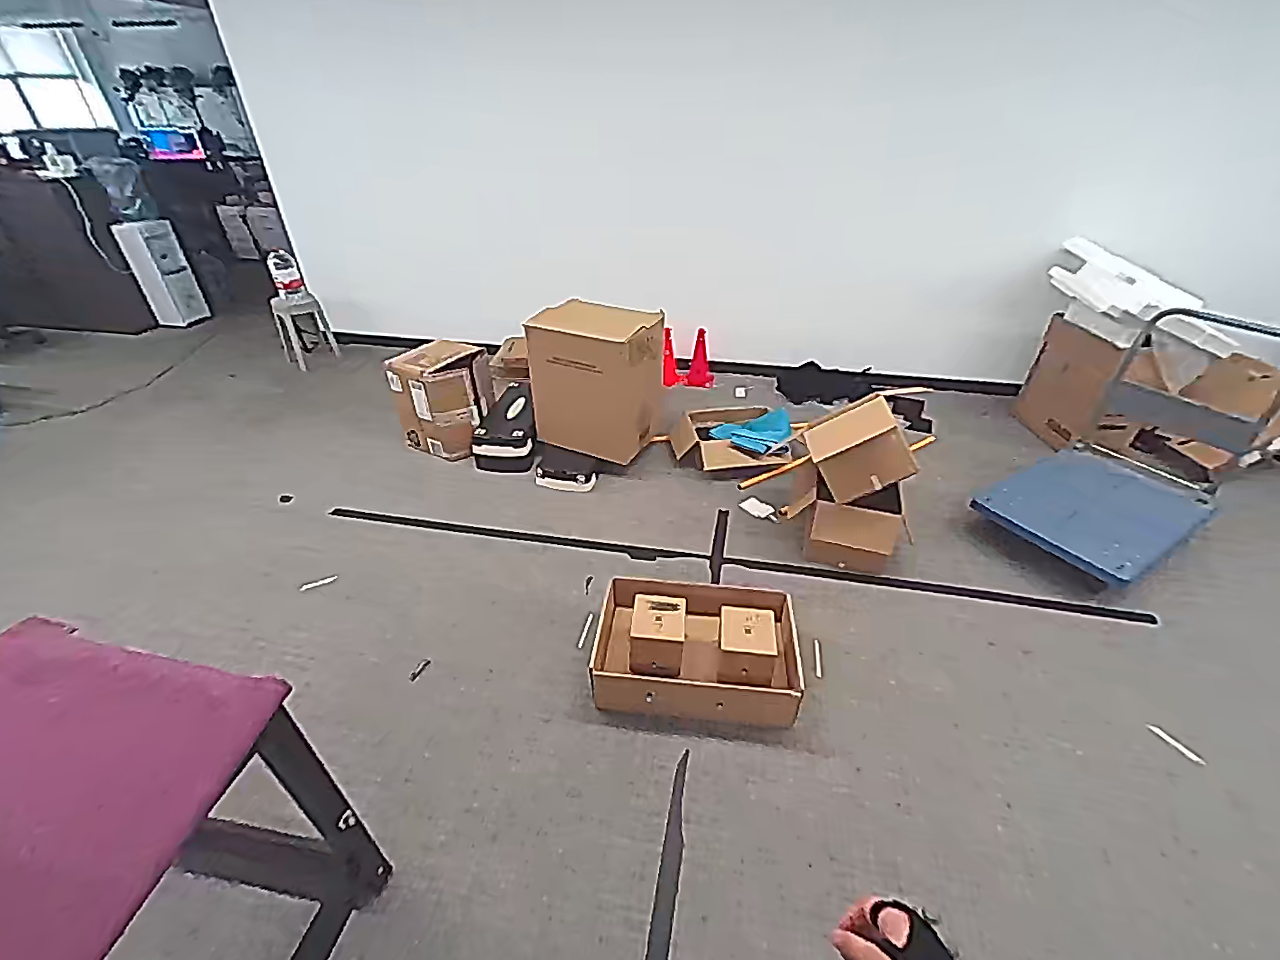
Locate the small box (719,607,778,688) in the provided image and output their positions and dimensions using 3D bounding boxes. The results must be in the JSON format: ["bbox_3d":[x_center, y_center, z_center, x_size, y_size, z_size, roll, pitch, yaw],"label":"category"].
[{"bbox_3d":[0.338,0.528,1.698,0.168,0.176,0.179,4,34,7],"label":"small box"}]
